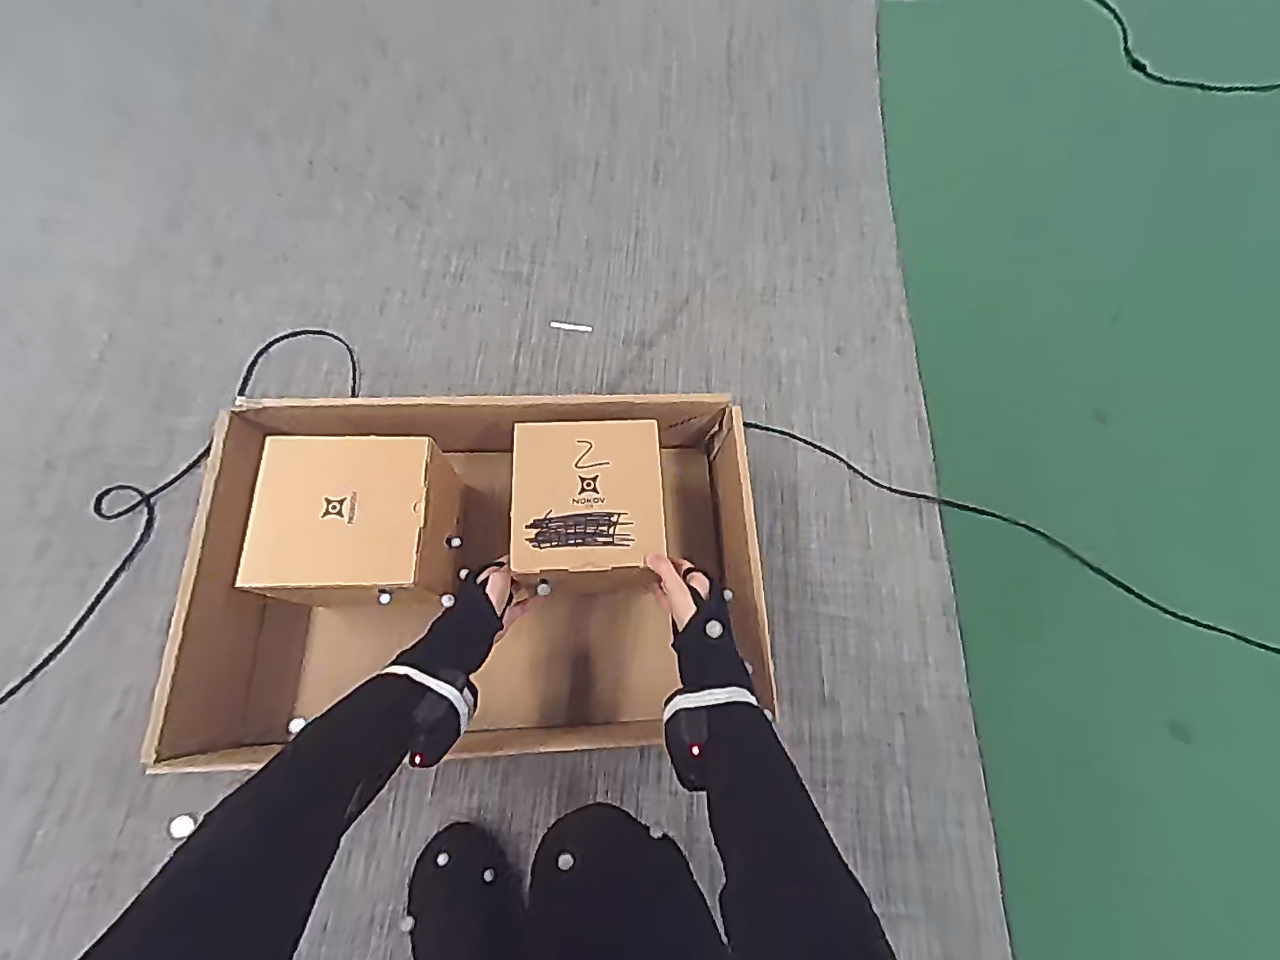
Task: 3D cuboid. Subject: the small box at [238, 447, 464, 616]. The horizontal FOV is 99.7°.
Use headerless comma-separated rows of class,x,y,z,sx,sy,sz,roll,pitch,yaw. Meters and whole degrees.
small box,-0.324,0.069,0.648,0.179,0.176,0.168,0,70,-6
